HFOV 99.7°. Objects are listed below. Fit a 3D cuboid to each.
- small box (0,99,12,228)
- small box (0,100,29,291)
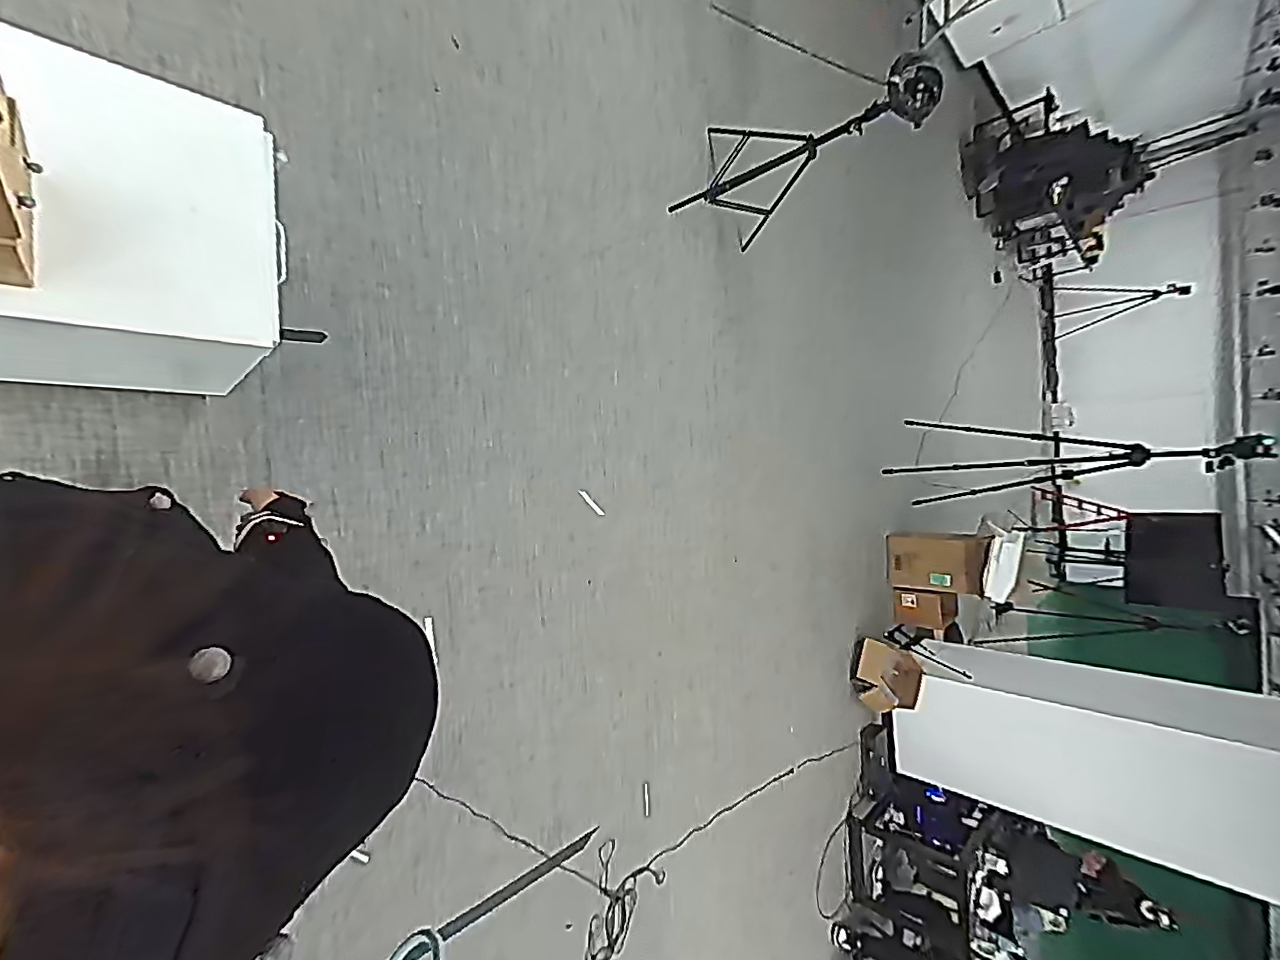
[{"bbox_3d":[-0.716,-0.346,0.492,0.179,0.176,0.168,-7,92,-43],"label":"small box"},{"bbox_3d":[-0.827,-0.340,0.613,0.168,0.176,0.179,-1,88,-45],"label":"small box"}]
